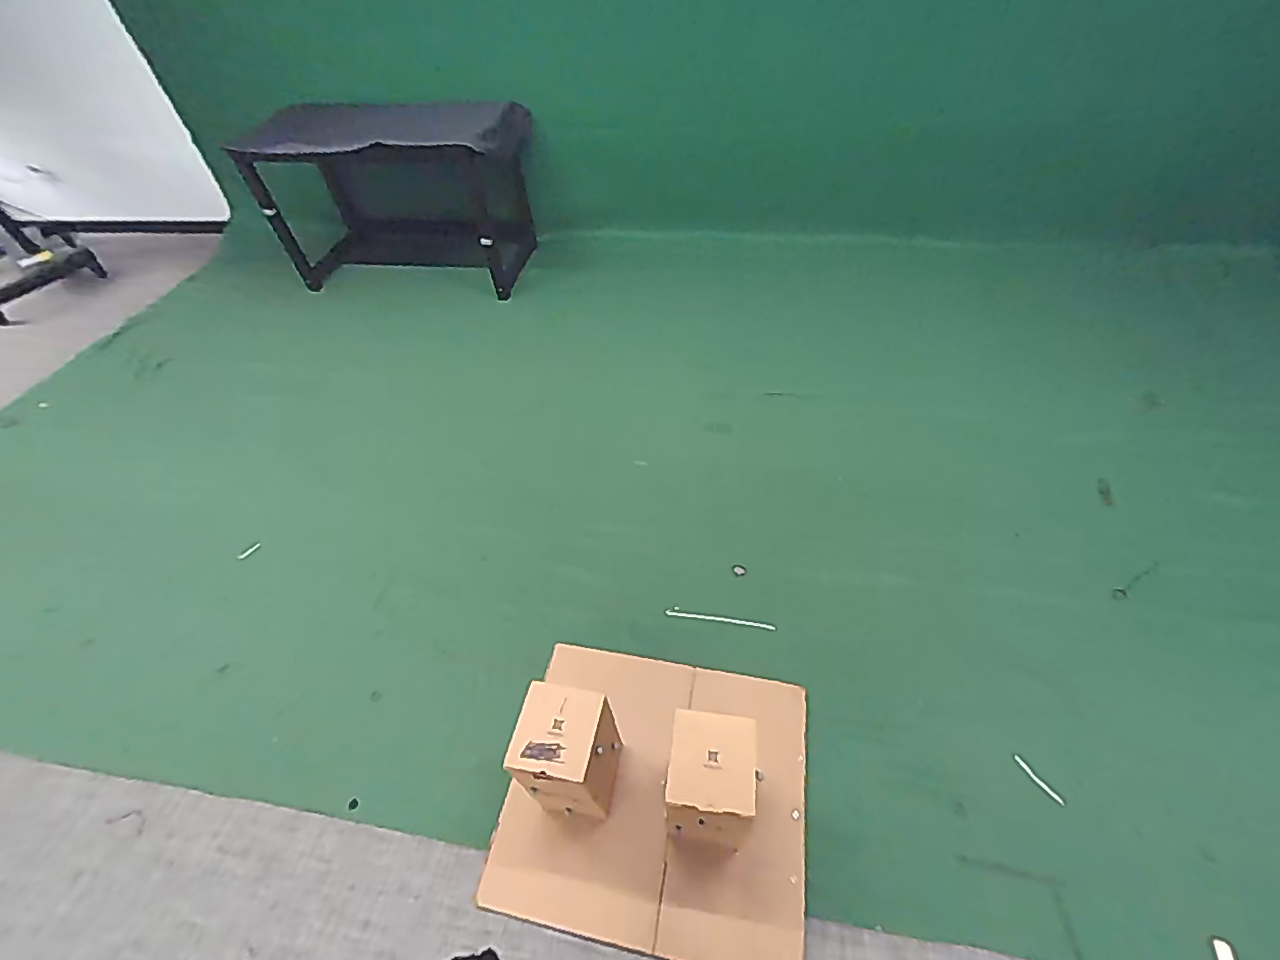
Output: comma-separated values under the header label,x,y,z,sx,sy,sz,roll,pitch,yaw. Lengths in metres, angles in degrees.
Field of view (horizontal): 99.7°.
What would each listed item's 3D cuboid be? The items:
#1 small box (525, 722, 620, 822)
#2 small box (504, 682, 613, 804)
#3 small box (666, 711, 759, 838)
label,x,y,z,sx,sy,sz,roll,pitch,yaw
small box,-0.146,0.667,1.257,0.168,0.176,0.179,4,49,11
small box,-0.160,0.556,1.136,0.168,0.176,0.179,6,48,12
small box,0.145,0.590,1.083,0.168,0.176,0.179,4,49,9
